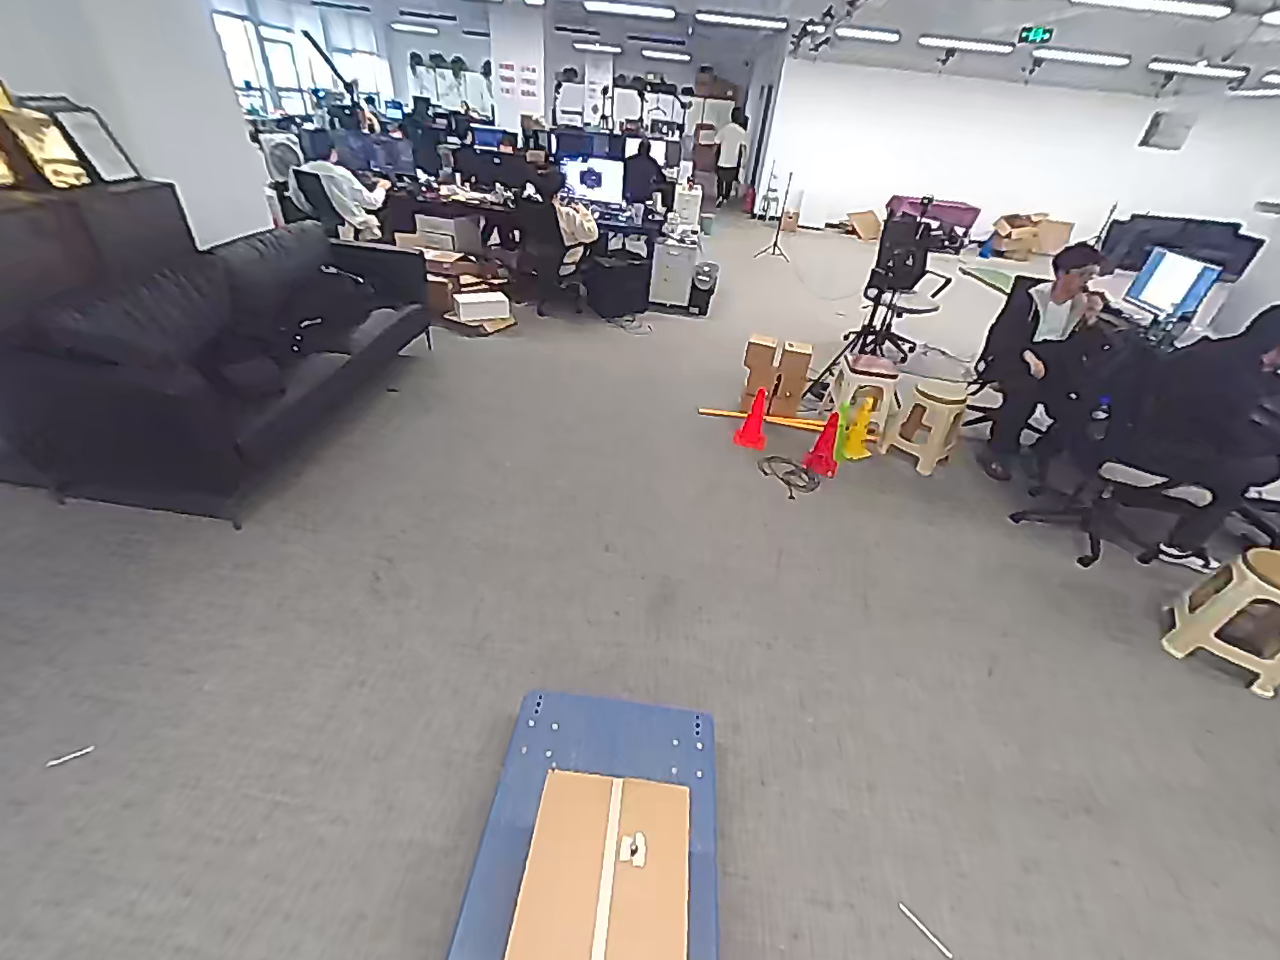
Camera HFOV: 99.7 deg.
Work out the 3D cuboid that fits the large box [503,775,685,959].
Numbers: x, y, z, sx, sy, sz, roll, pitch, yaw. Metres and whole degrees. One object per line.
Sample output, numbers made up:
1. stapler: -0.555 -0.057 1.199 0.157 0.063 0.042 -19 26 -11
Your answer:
1. large box: -0.083 0.890 1.092 0.320 0.320 0.408 7 34 1
